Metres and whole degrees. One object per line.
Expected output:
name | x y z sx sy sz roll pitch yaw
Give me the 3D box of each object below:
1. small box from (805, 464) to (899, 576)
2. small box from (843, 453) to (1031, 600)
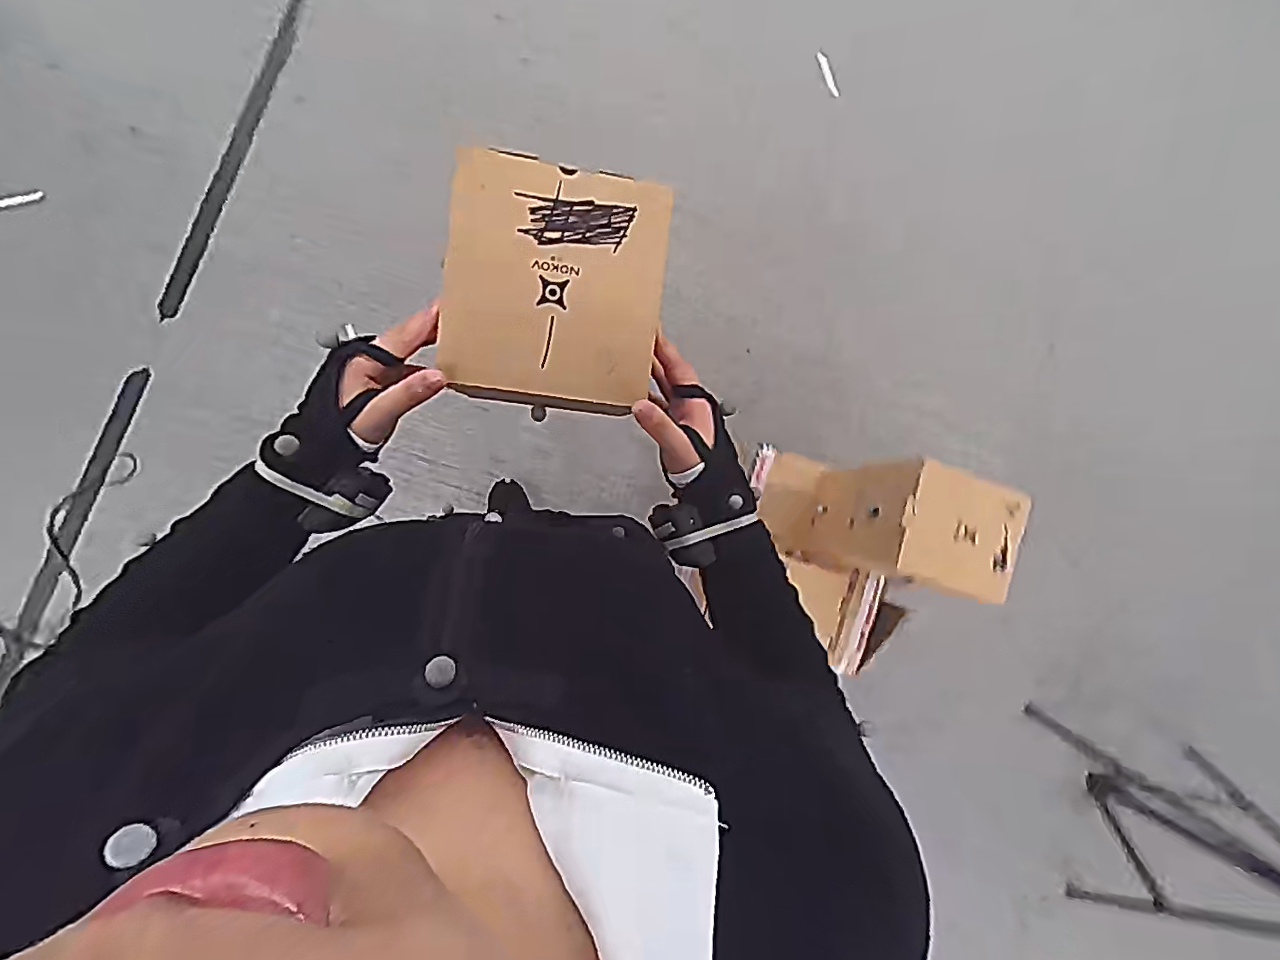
small box | 0.438 0.077 1.006 0.179 0.176 0.168 18 85 -5
small box | 0.446 0.071 0.841 0.179 0.176 0.168 20 85 -4
